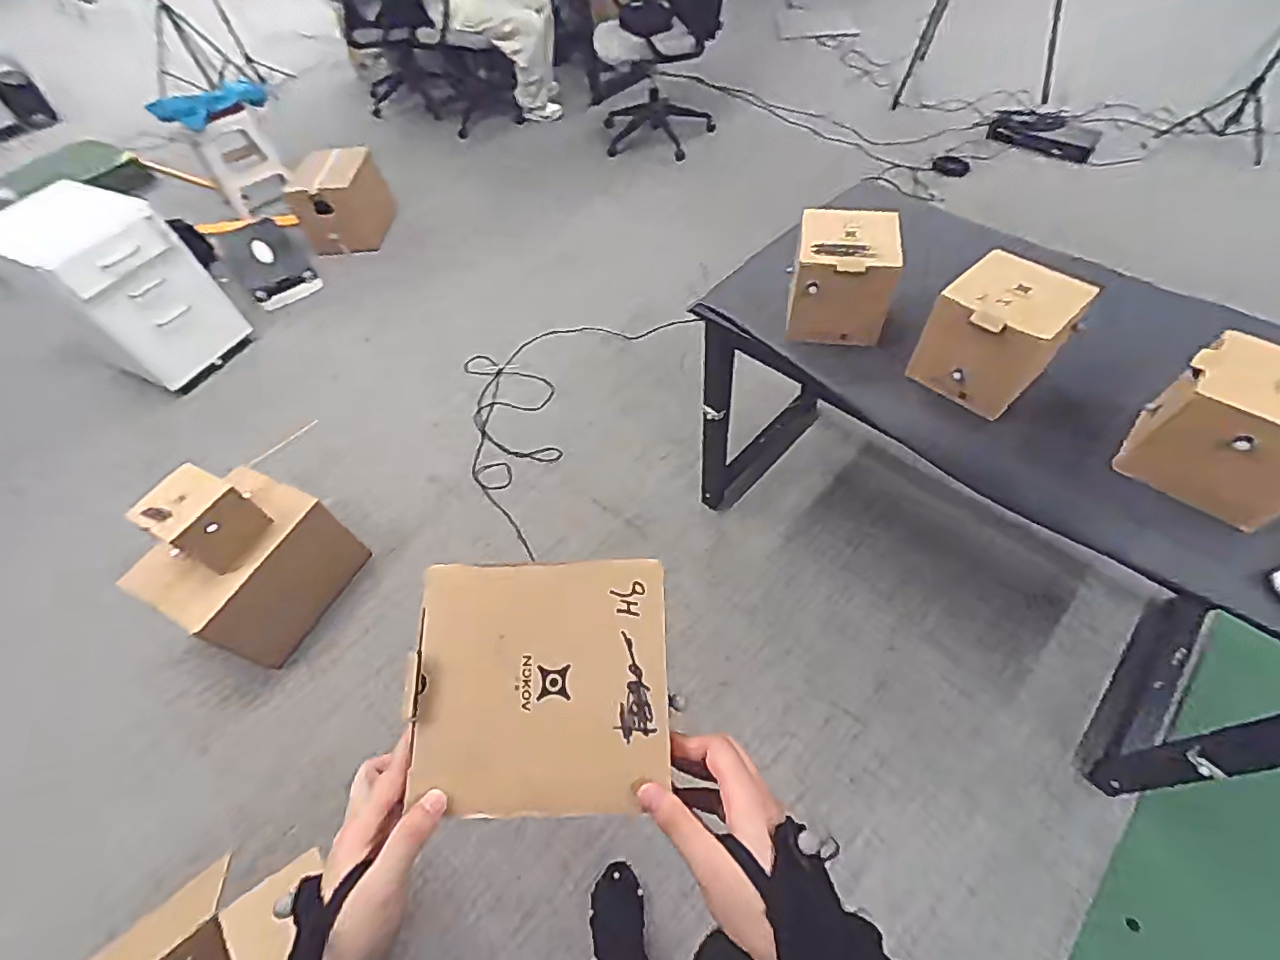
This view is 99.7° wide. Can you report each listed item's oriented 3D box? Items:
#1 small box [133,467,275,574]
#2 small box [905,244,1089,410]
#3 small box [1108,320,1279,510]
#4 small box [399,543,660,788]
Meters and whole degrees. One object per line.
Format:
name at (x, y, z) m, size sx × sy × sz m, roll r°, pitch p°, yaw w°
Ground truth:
small box at (-1.063, 0.105, 1.335) m, size 0.168 × 0.176 × 0.179 m, roll 20°, pitch 59°, yaw 17°
small box at (0.574, -0.251, 0.895) m, size 0.179 × 0.176 × 0.168 m, roll -38°, pitch 59°, yaw -20°
small box at (0.820, -0.083, 0.751) m, size 0.179 × 0.176 × 0.168 m, roll 36°, pitch 64°, yaw 27°
small box at (-0.073, 0.150, 0.458) m, size 0.179 × 0.176 × 0.168 m, roll -1°, pitch 73°, yaw 1°
